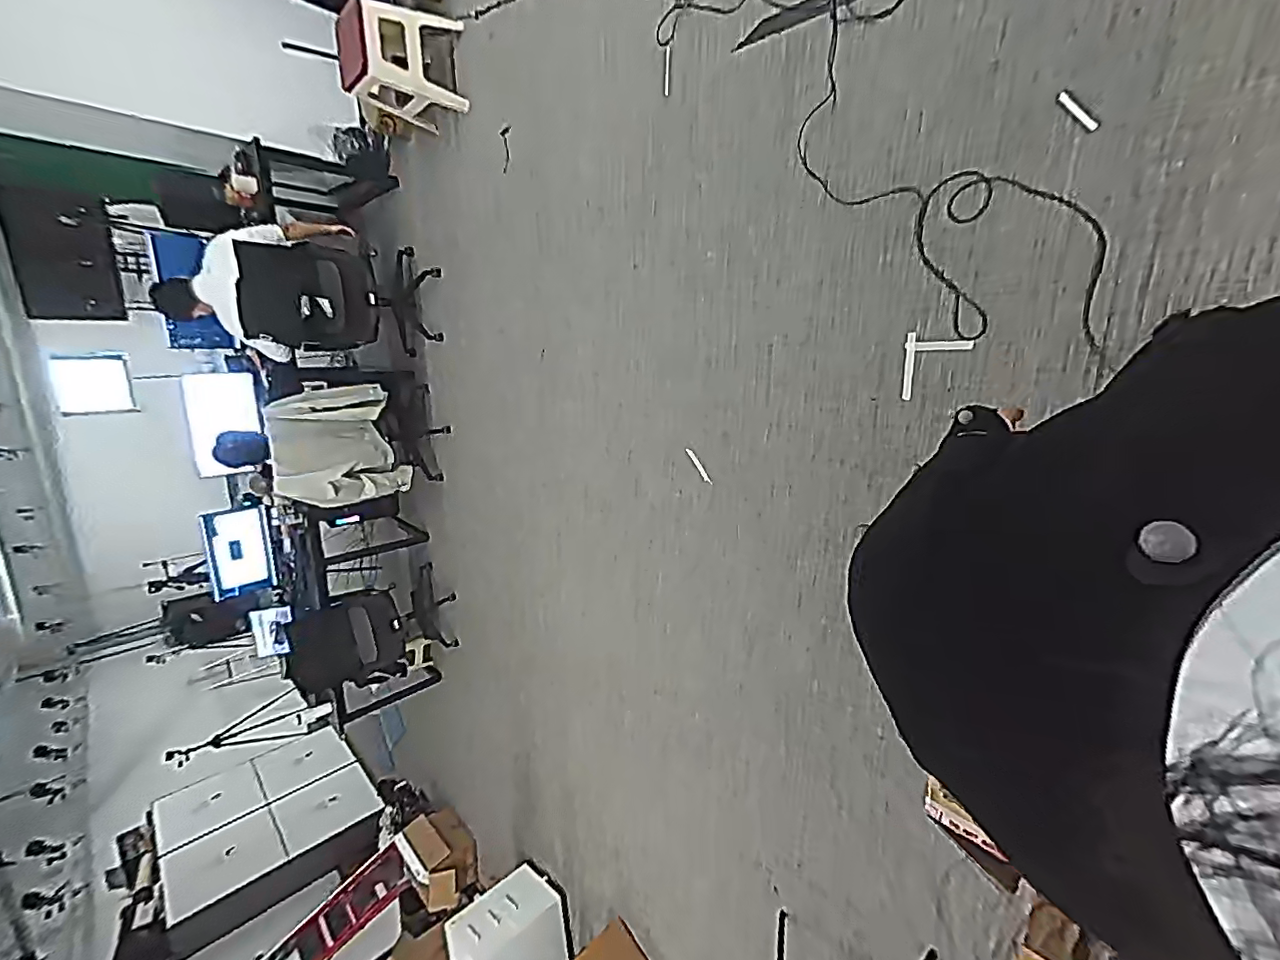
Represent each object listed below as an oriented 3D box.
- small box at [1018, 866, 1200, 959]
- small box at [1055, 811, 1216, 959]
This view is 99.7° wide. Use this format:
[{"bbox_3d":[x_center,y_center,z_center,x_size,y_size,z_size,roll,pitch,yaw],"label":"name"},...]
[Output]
[{"bbox_3d":[0.591,0.663,0.695,0.168,0.176,0.179,14,107,43],"label":"small box"},{"bbox_3d":[0.717,0.646,0.799,0.168,0.176,0.179,10,104,43],"label":"small box"}]
